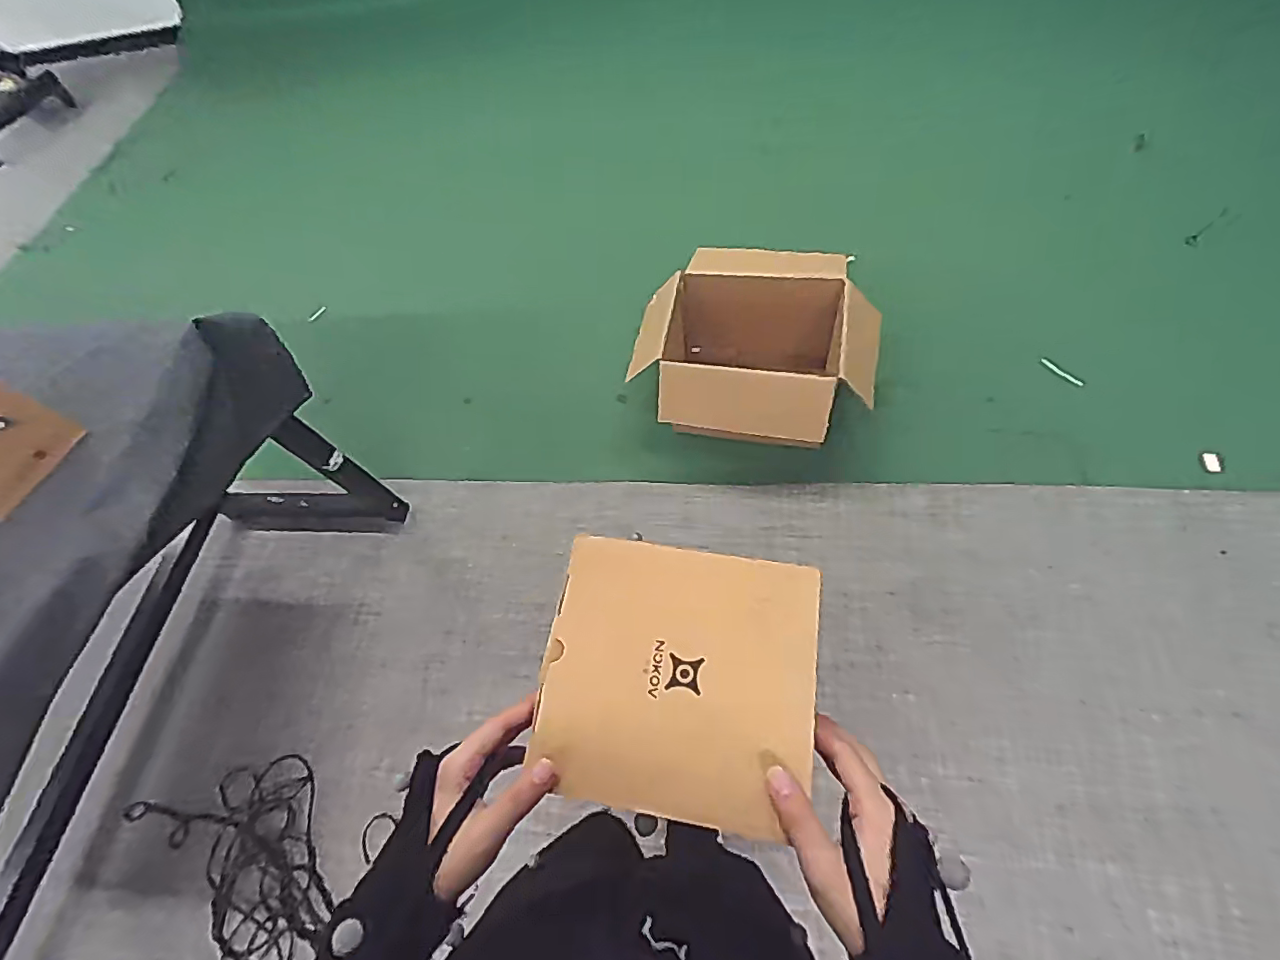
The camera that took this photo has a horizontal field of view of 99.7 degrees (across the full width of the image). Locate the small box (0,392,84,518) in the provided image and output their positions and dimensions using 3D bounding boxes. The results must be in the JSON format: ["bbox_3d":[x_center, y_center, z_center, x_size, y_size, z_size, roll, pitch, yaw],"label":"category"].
[{"bbox_3d":[-0.960,-0.057,0.754,0.179,0.176,0.168,16,65,19],"label":"small box"}]
